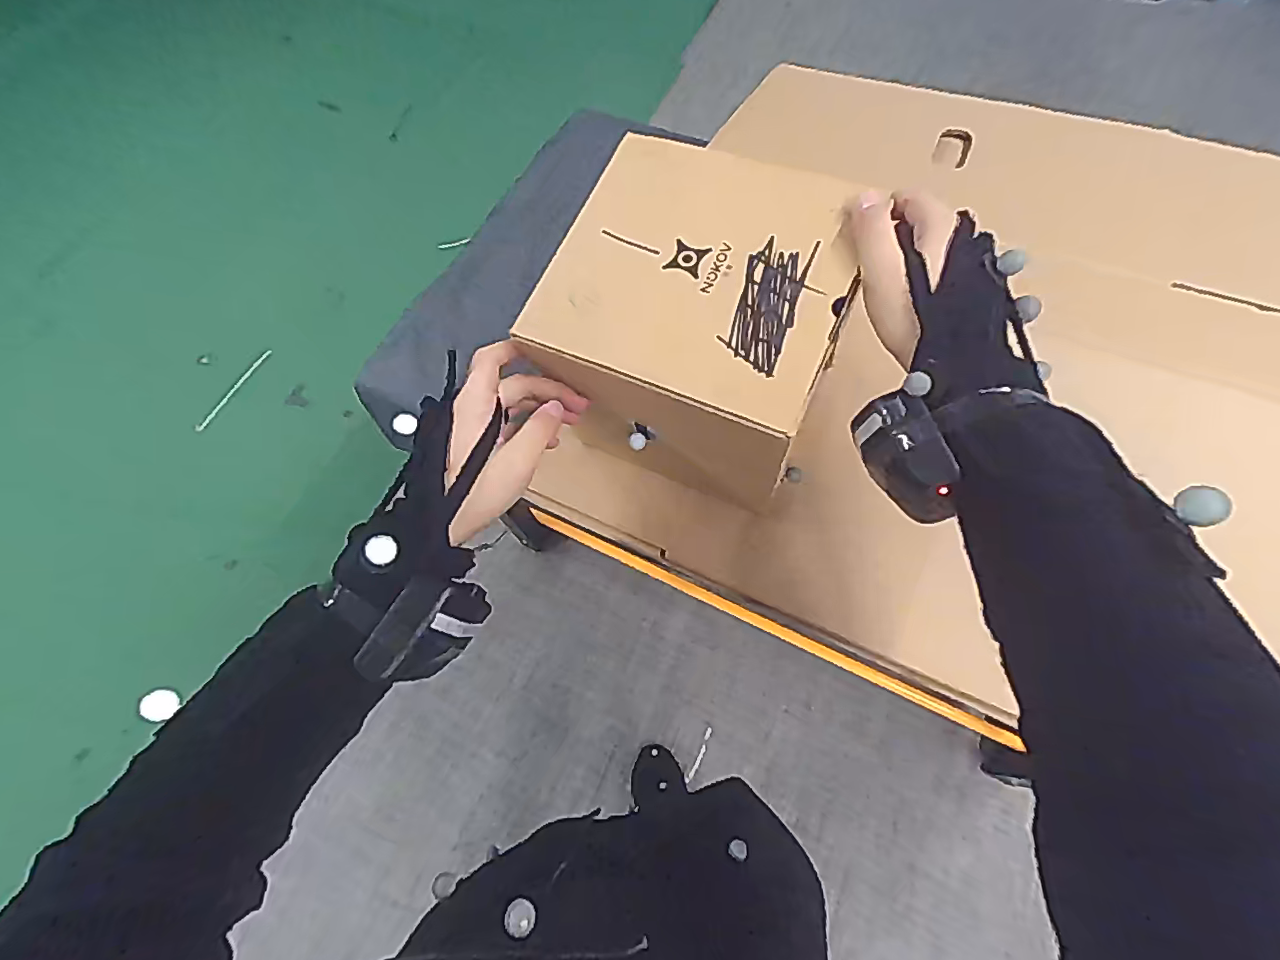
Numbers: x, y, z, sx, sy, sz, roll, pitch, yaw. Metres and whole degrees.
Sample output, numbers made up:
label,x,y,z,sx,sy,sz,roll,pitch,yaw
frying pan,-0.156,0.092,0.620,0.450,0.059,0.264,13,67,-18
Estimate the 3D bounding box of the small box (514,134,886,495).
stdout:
label,x,y,z,sx,sy,sz,roll,pitch,yaw
small box,0.046,-0.103,0.397,0.179,0.176,0.168,23,77,15
